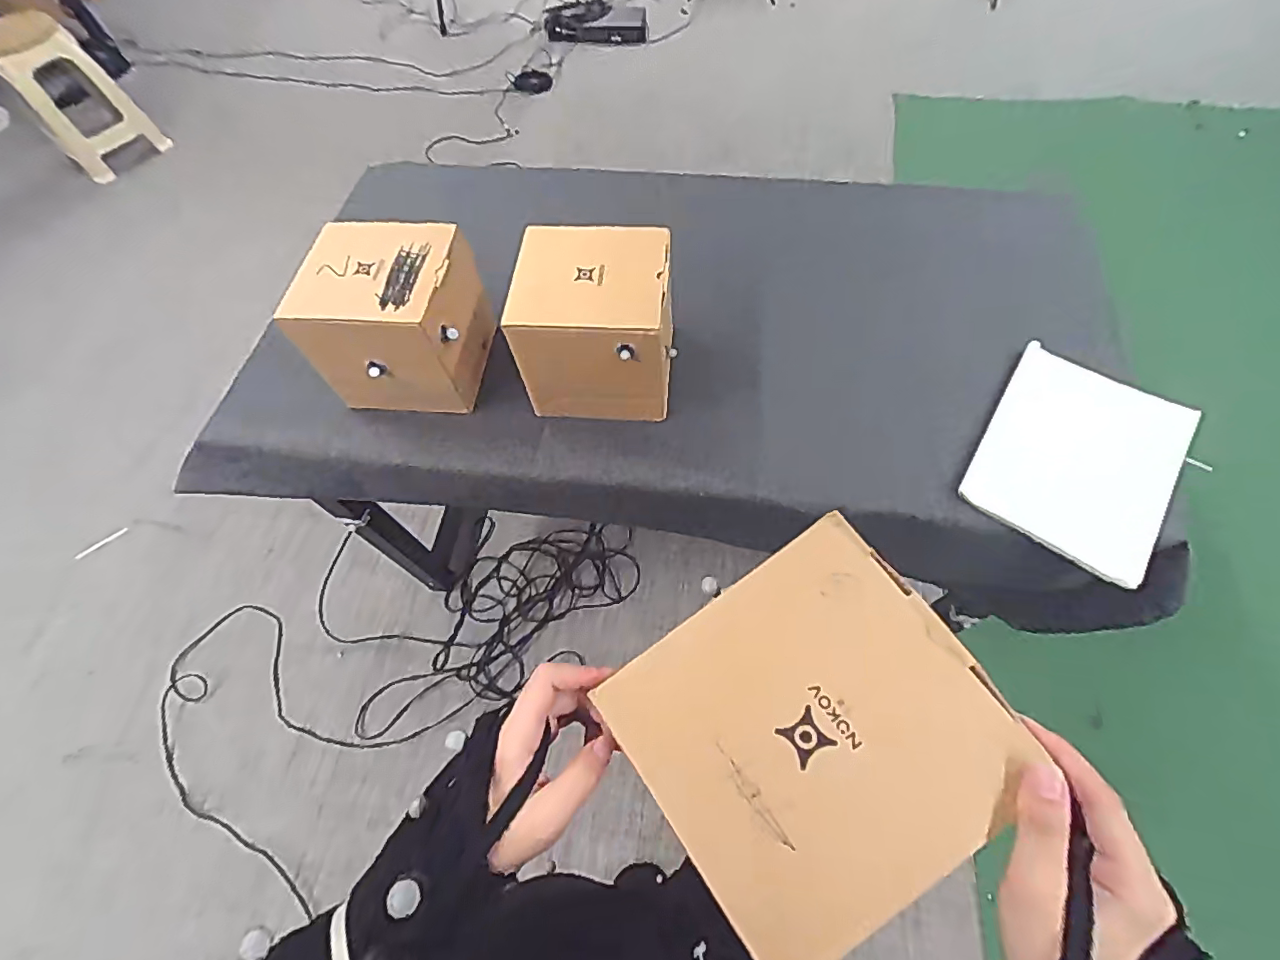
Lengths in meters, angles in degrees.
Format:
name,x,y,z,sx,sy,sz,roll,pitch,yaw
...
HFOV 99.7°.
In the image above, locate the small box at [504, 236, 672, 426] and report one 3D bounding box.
name,x,y,z,sx,sy,sz,roll,pitch,yaw
small box,-0.052,-0.183,0.686,0.179,0.176,0.168,3,61,4
